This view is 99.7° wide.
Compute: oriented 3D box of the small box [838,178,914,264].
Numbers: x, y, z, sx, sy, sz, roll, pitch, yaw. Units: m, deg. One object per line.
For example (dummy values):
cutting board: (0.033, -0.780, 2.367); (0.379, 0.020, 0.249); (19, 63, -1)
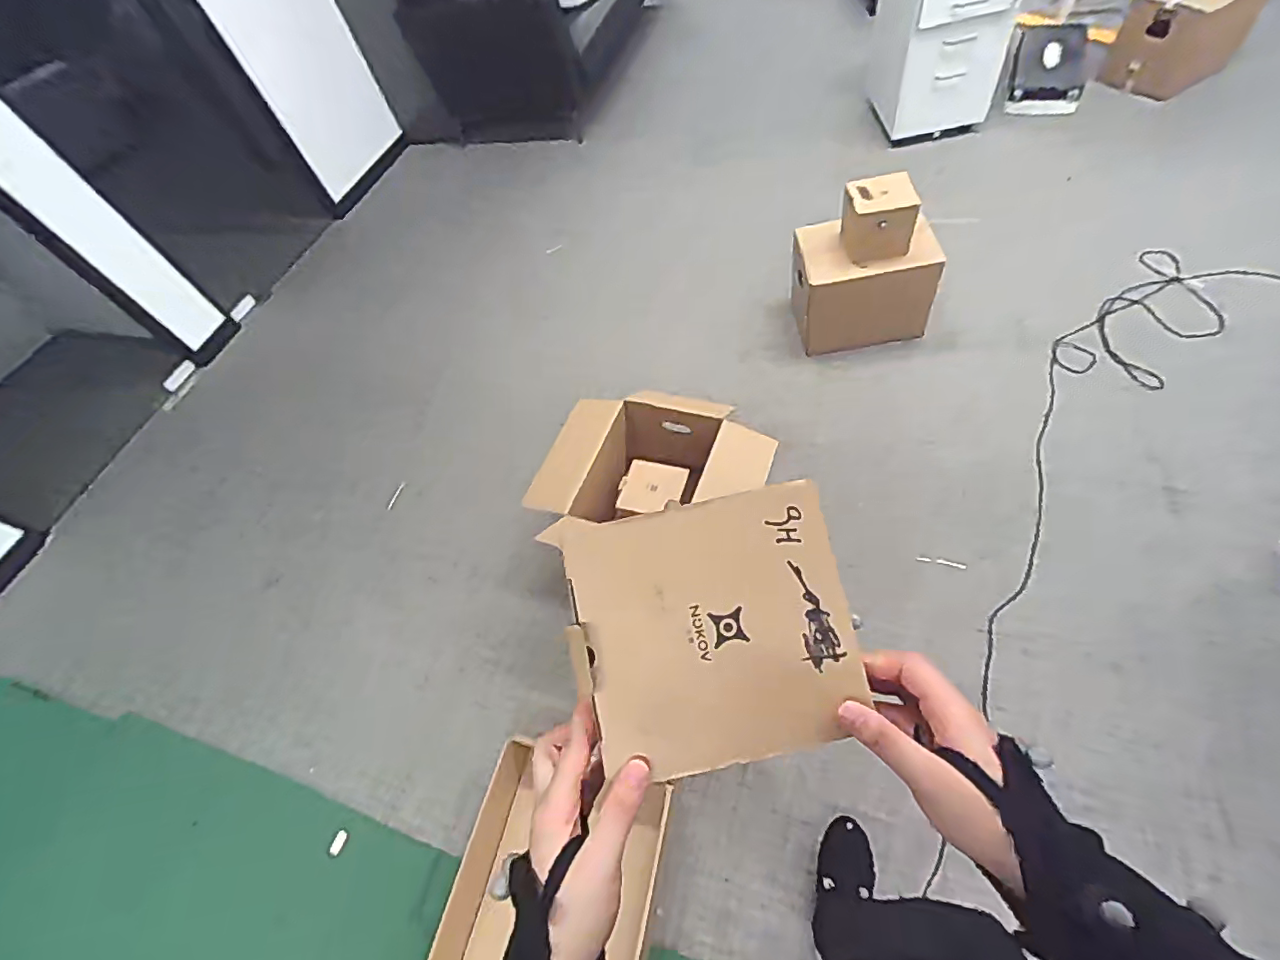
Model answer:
small box: (0.720, -0.796, 1.675); (0.179, 0.176, 0.168); (-7, 57, 9)

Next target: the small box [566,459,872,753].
small box: (0.053, 0.095, 0.438); (0.179, 0.176, 0.168); (-13, 80, 0)
